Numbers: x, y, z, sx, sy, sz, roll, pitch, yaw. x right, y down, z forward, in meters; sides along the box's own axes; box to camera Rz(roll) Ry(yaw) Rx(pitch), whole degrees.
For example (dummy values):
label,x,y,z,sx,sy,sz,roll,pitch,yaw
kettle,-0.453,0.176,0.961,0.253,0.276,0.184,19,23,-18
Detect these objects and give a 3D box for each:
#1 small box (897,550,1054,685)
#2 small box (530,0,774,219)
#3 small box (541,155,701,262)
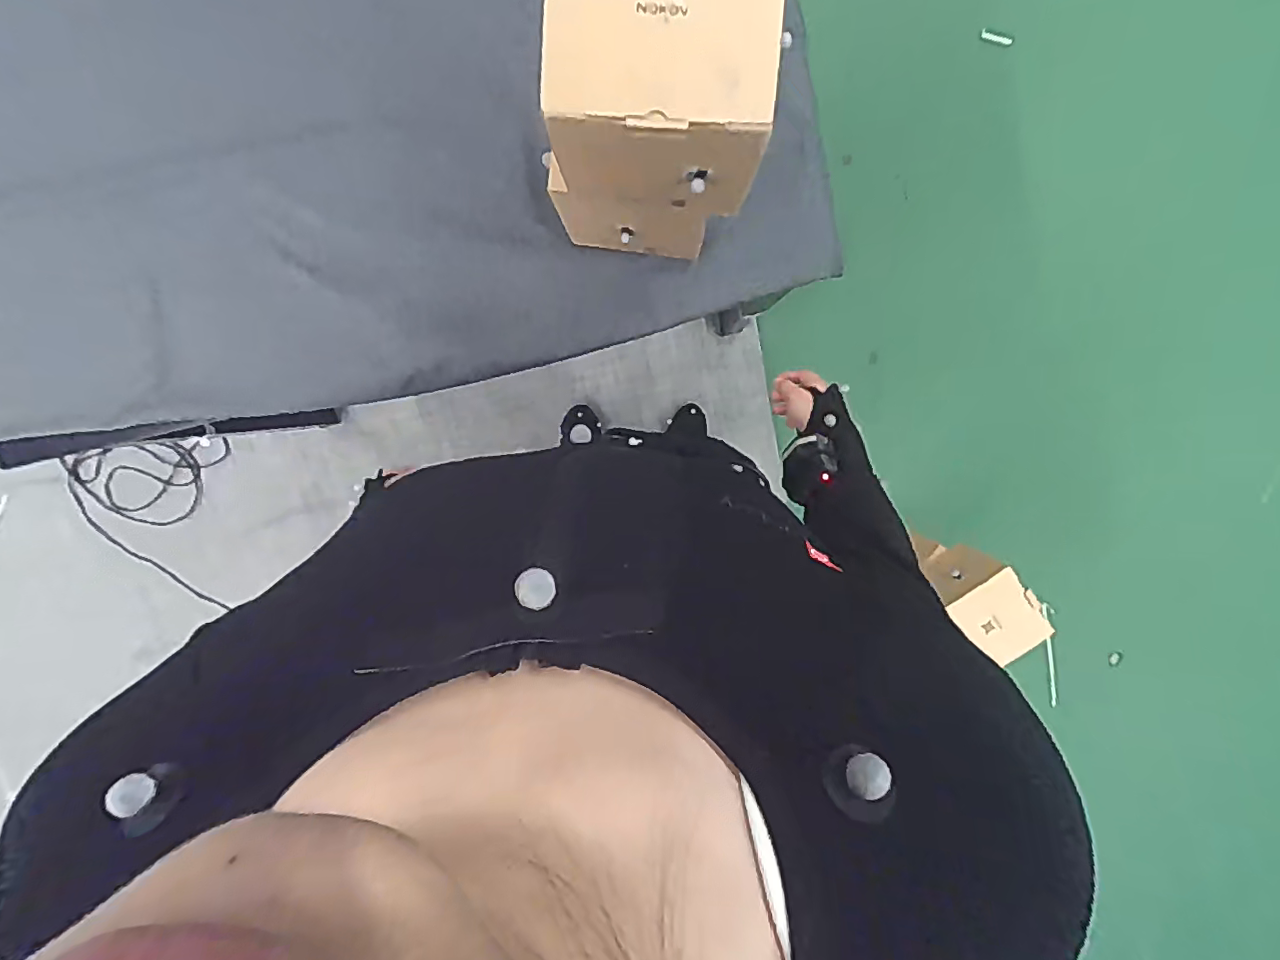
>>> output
label,x,y,z,sx,sy,sz,roll,pitch,yaw
small box,0.662,0.266,1.090,0.179,0.176,0.168,-37,95,6
small box,0.011,-0.333,0.443,0.168,0.176,0.179,3,96,0
small box,-0.004,-0.360,0.603,0.168,0.176,0.179,8,96,0
